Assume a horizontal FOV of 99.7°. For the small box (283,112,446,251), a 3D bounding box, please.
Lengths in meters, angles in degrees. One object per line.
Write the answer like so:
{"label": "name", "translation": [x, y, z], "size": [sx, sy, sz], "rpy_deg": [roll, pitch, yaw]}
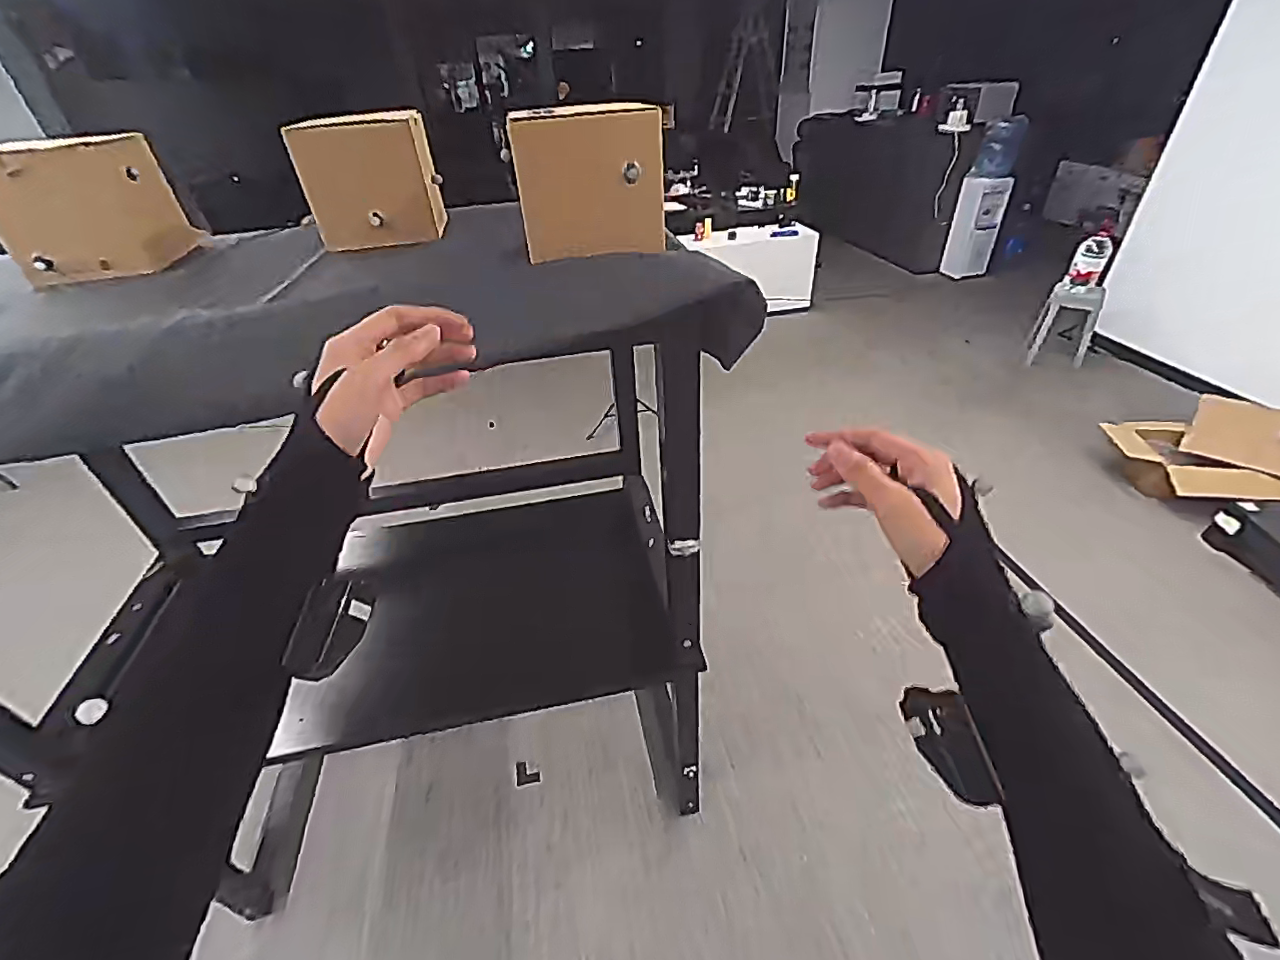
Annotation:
{"label": "small box", "translation": [-0.422, -0.481, 0.869], "size": [0.179, 0.176, 0.168], "rpy_deg": [-9, 37, -8]}

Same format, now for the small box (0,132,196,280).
{"label": "small box", "translation": [-0.819, -0.407, 0.808], "size": [0.168, 0.176, 0.179], "rpy_deg": [-12, 38, -10]}
